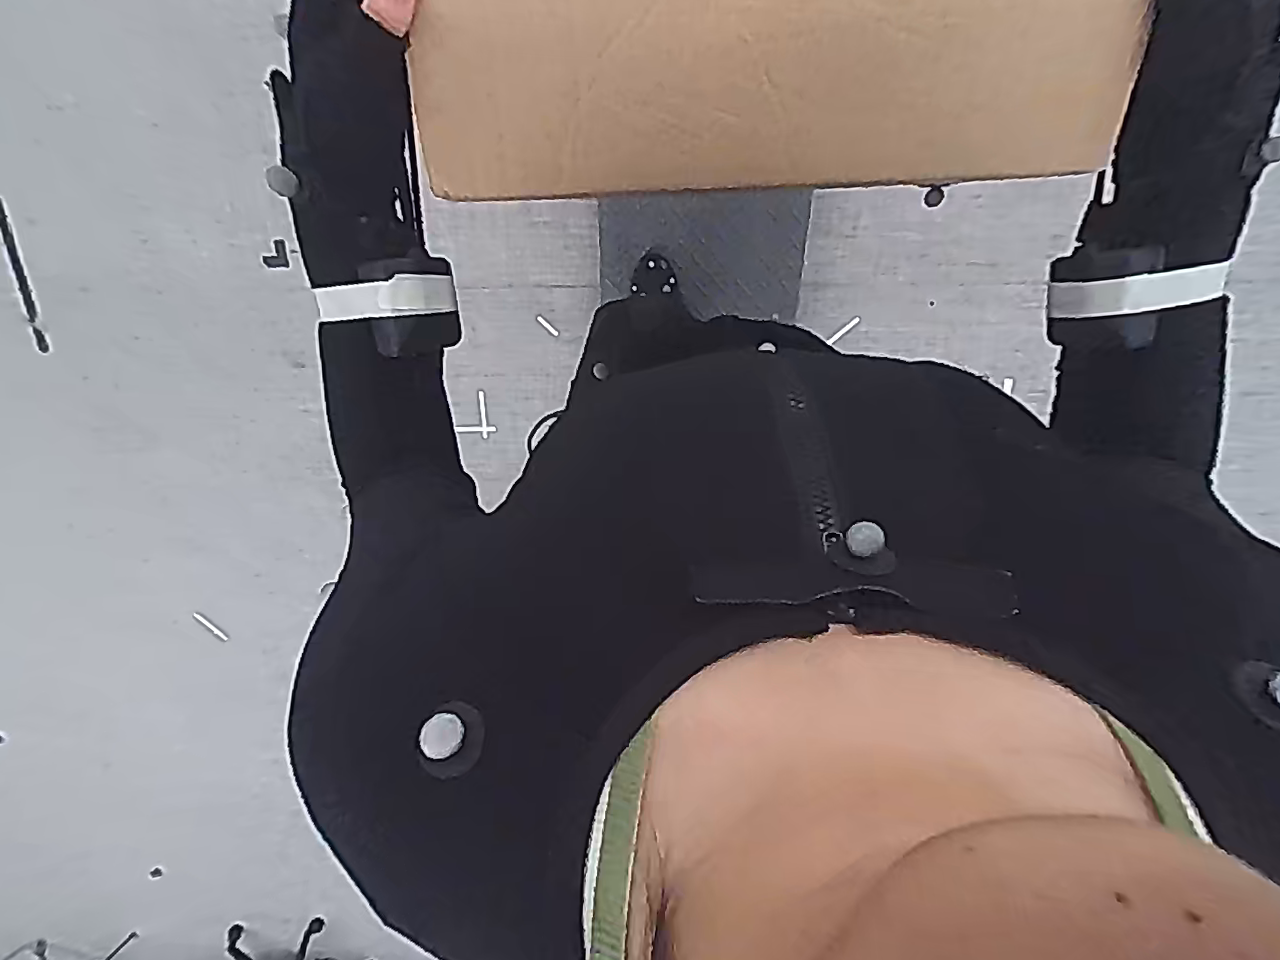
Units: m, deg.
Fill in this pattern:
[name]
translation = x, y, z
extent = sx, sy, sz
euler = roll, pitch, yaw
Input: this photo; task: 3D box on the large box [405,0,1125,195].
[large box]
translation = 0.066, -0.394, 0.390
extent = 0.408, 0.320, 0.320
euler = -2, 119, 0
